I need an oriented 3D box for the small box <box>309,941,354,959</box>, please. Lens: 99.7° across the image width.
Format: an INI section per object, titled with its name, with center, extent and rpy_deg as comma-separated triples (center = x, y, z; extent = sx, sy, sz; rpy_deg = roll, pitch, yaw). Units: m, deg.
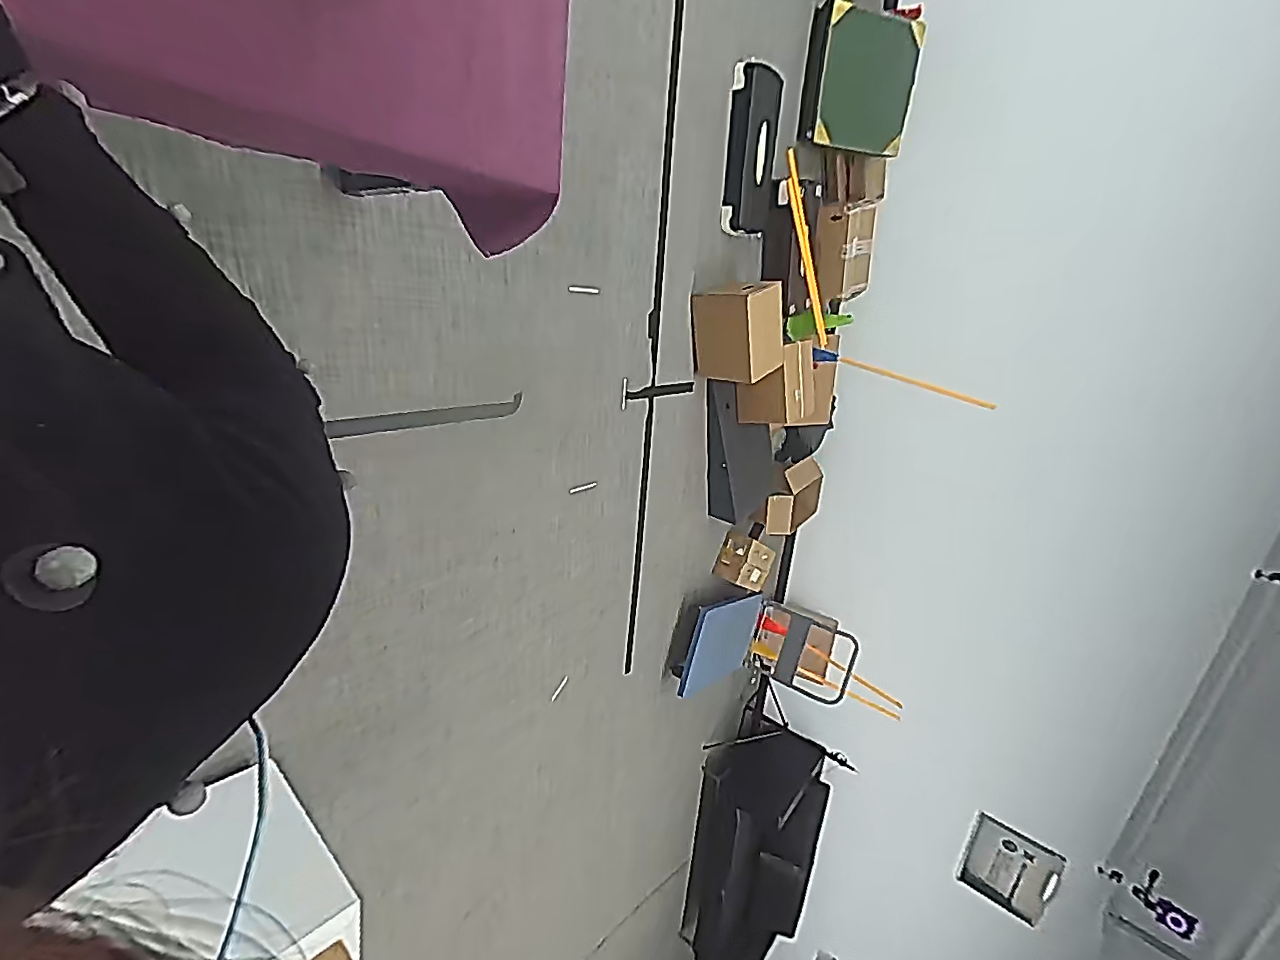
[small box]
center = -0.668, 1.129, 1.120
extent = 0.168, 0.176, 0.179
rpy_deg = -10, 115, -51
